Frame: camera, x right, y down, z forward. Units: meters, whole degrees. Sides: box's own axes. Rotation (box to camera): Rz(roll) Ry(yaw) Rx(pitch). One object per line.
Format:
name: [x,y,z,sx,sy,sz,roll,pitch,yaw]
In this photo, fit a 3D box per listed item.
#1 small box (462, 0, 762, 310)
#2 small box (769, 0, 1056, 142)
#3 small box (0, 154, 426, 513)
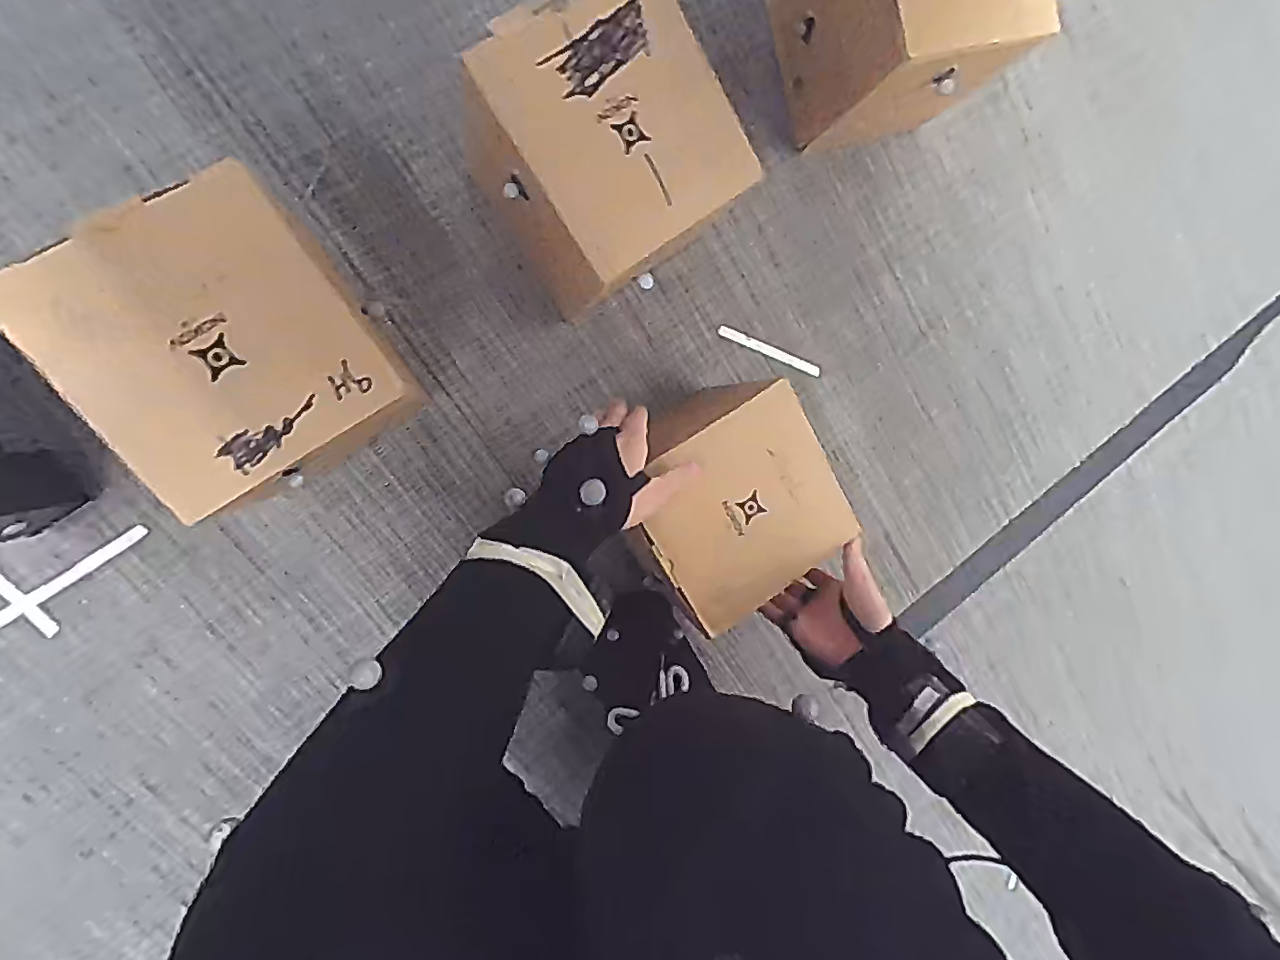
small box: [-0.034,-0.275,0.471,0.168,0.176,0.179,-37,105,-9]
small box: [0.257,-0.470,0.535,0.179,0.176,0.168,-19,101,-12]
small box: [-0.291,-0.096,0.417,0.168,0.176,0.179,-34,102,-10]
